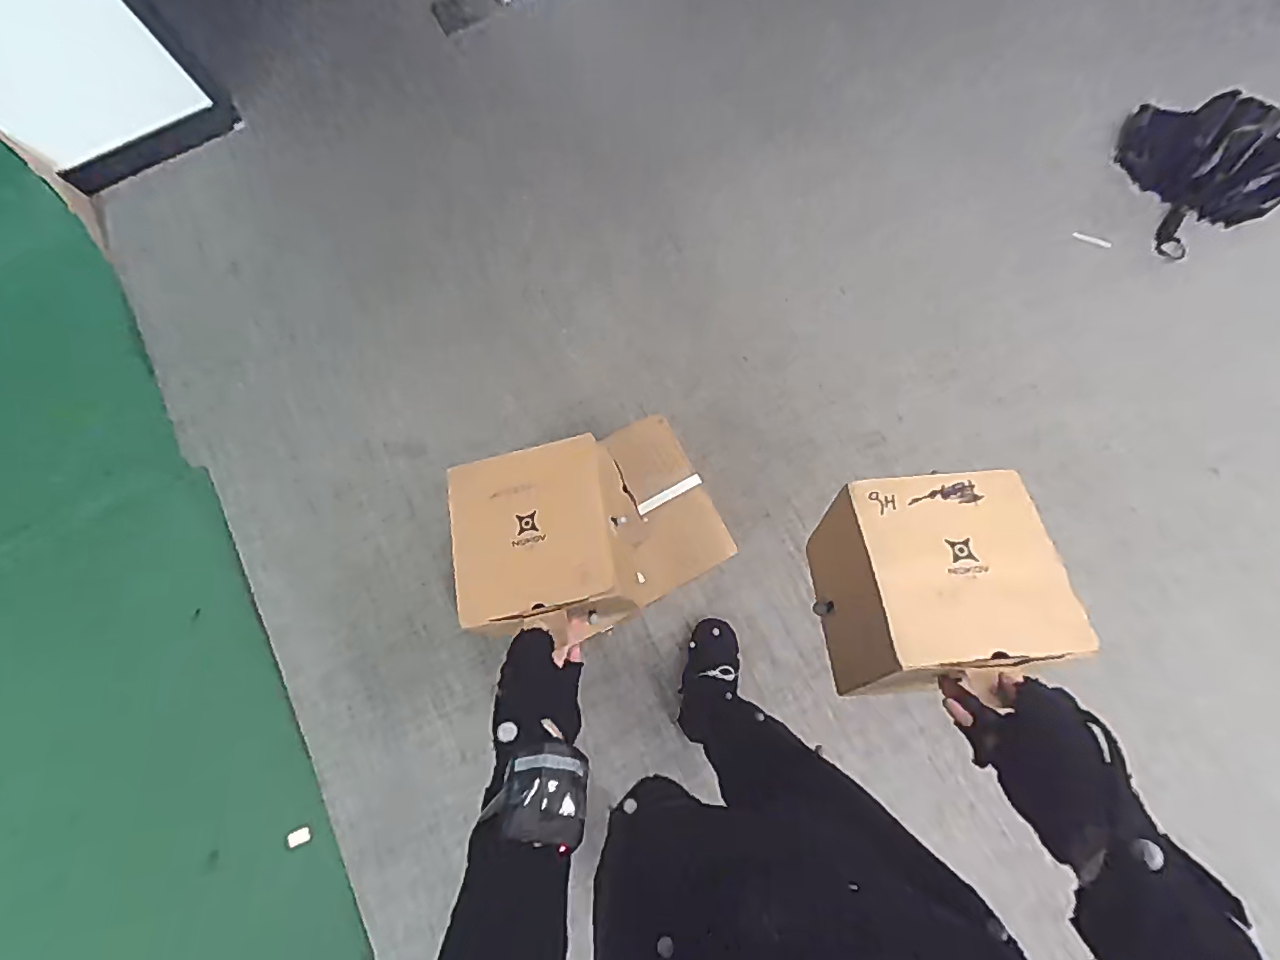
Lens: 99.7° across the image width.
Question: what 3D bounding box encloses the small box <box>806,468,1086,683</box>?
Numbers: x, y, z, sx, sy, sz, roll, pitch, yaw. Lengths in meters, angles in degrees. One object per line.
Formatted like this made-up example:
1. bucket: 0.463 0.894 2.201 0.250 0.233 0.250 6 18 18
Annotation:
1. small box: 0.285 0.107 0.555 0.168 0.176 0.179 -4 62 -2

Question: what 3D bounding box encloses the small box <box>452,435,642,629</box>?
1. small box: -0.100 0.073 0.639 0.168 0.176 0.179 -14 70 4

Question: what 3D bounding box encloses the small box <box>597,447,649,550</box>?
1. small box: -0.095 0.062 0.906 0.179 0.176 0.168 -21 82 -4
